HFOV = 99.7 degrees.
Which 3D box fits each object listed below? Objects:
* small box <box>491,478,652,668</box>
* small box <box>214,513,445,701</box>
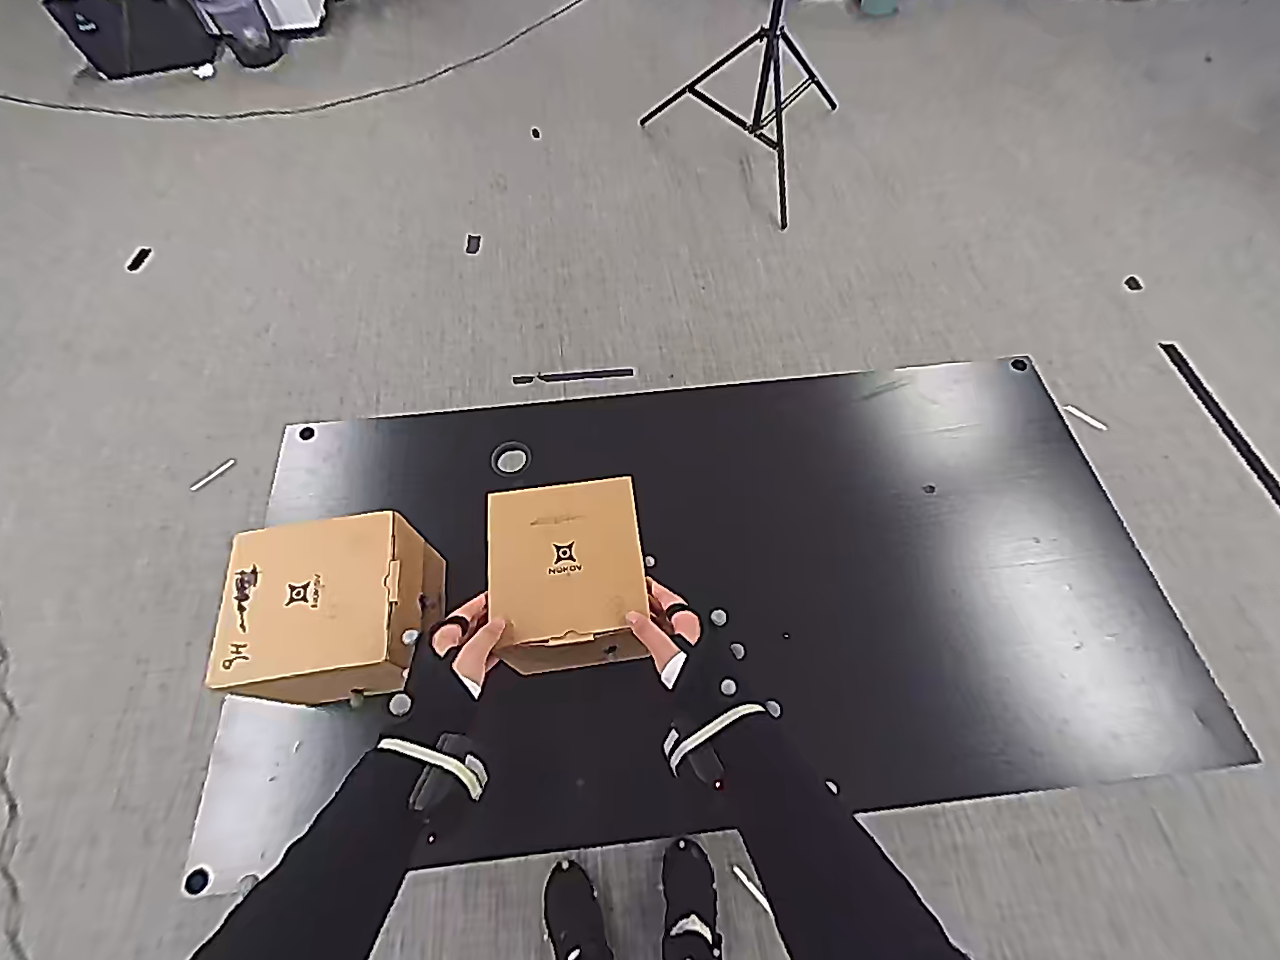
[{"bbox_3d":[-0.077,0.120,0.651,0.168,0.176,0.179,-7,62,-4],"label":"small box"},{"bbox_3d":[-0.338,0.154,0.633,0.179,0.176,0.168,-7,62,-5],"label":"small box"}]
